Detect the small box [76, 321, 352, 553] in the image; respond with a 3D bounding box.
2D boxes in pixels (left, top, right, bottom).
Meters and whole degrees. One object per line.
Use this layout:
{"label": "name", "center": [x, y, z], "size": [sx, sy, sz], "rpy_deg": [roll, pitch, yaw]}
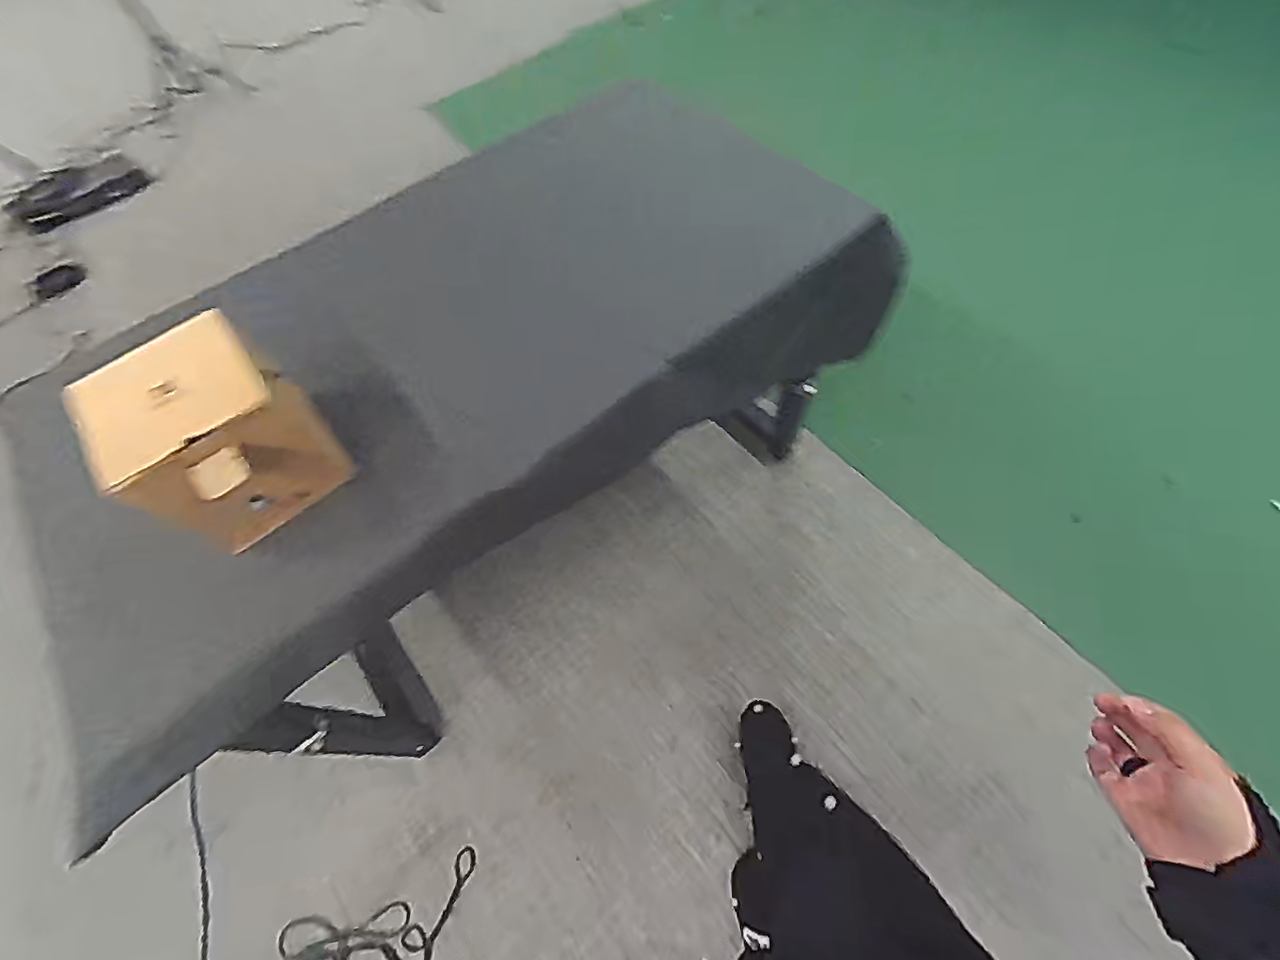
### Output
{"label": "small box", "center": [-0.486, -0.044, 0.638], "size": [0.168, 0.176, 0.179], "rpy_deg": [-39, 65, -15]}
